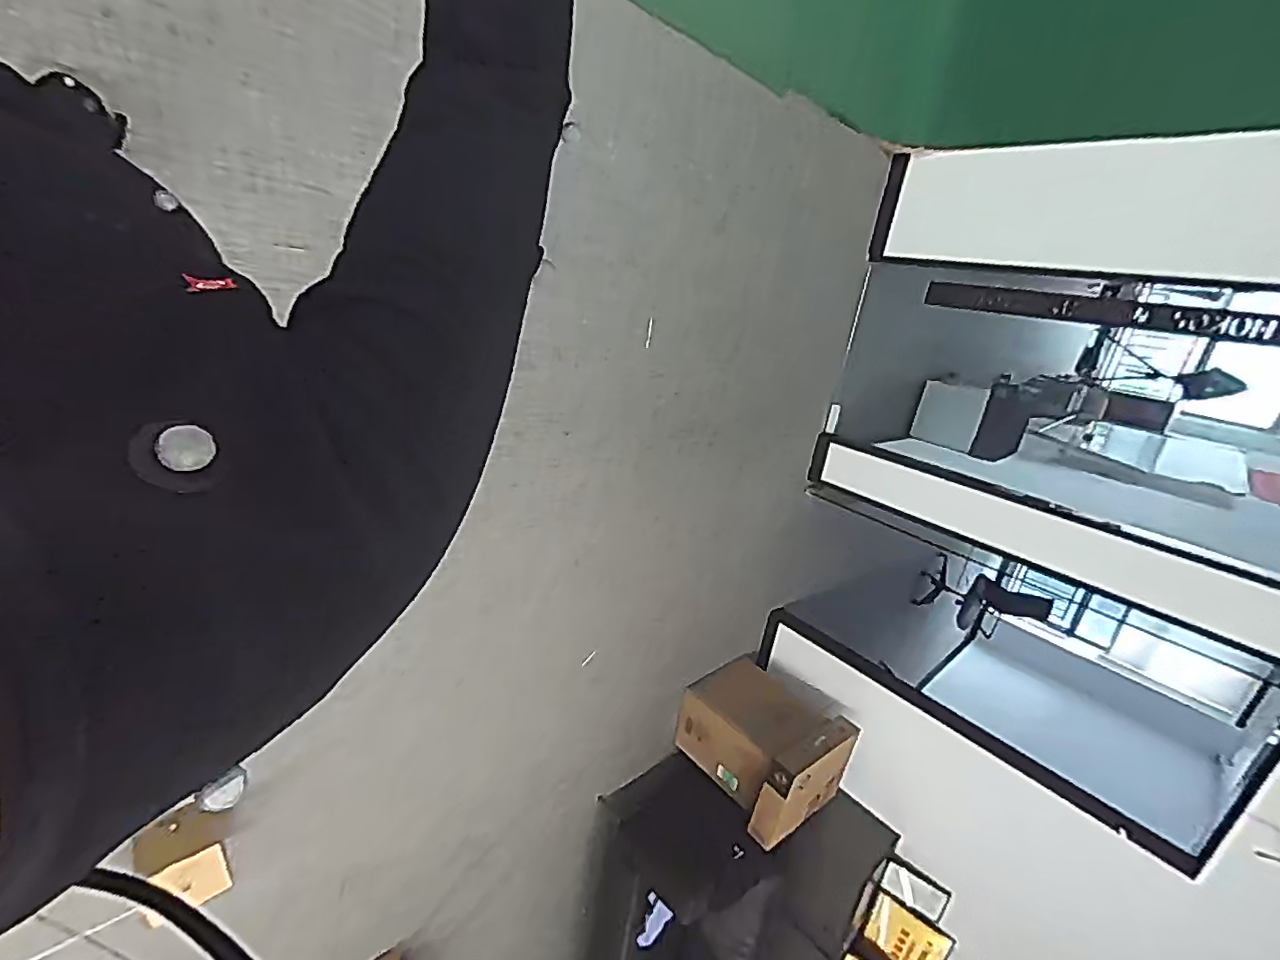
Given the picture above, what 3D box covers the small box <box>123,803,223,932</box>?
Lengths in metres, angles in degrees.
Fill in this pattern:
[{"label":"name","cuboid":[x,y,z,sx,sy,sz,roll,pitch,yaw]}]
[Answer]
[{"label":"small box","cuboid":[-1.206,0.991,1.398,0.168,0.176,0.179,-15,120,-41]}]
